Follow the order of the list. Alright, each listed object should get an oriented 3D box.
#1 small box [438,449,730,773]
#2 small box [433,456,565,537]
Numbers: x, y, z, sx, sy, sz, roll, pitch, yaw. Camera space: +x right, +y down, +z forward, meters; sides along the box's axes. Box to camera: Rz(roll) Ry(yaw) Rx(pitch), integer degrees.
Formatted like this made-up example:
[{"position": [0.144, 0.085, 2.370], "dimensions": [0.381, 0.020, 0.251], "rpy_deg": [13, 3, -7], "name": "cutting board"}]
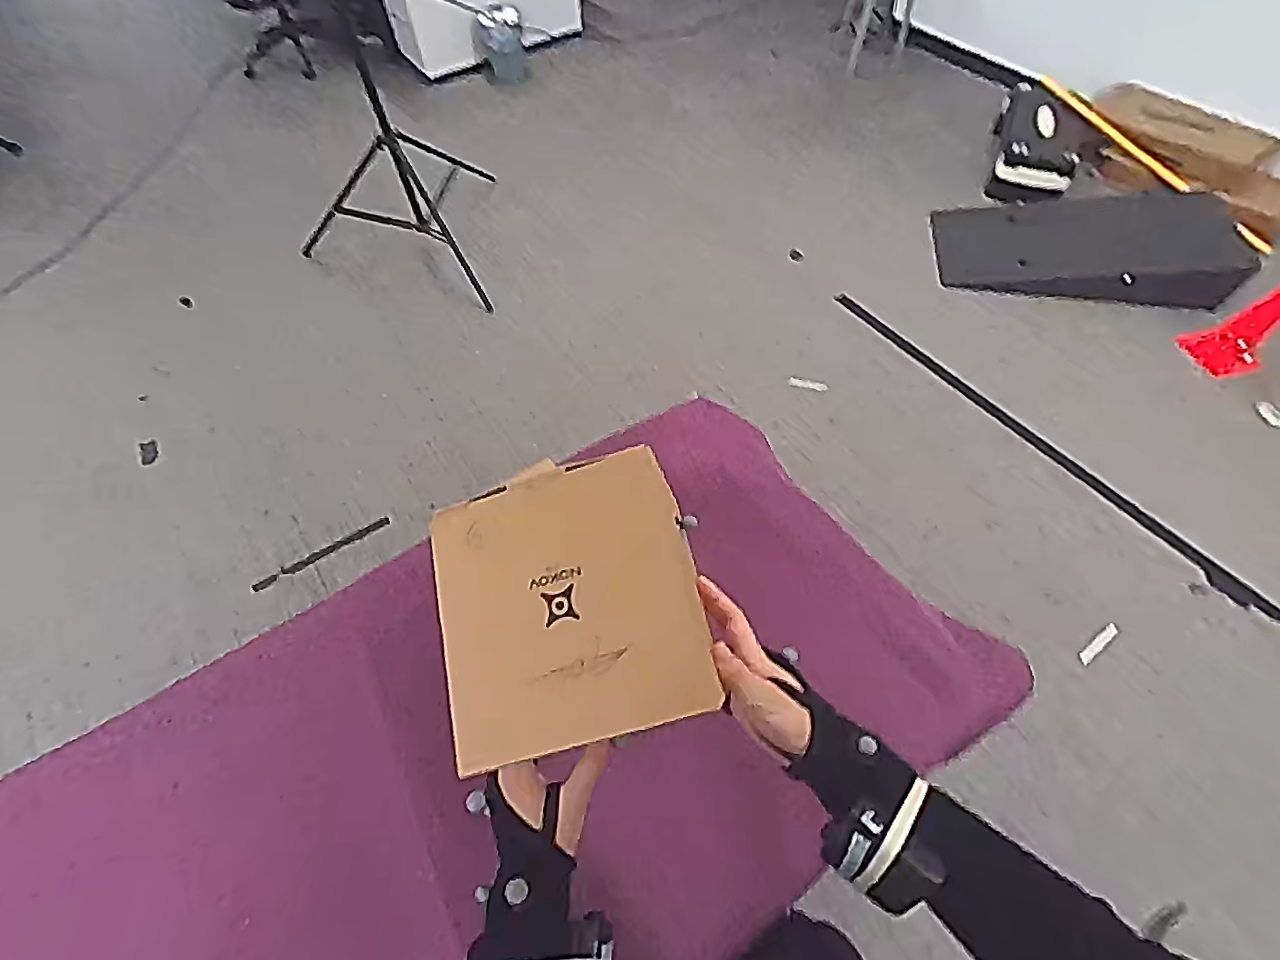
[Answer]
[{"position": [-0.032, 0.102, 0.422], "dimensions": [0.168, 0.176, 0.179], "rpy_deg": [-17, 70, 6], "name": "small box"}, {"position": [-0.129, 0.108, 0.685], "dimensions": [0.168, 0.176, 0.179], "rpy_deg": [-32, 65, -16], "name": "small box"}]
